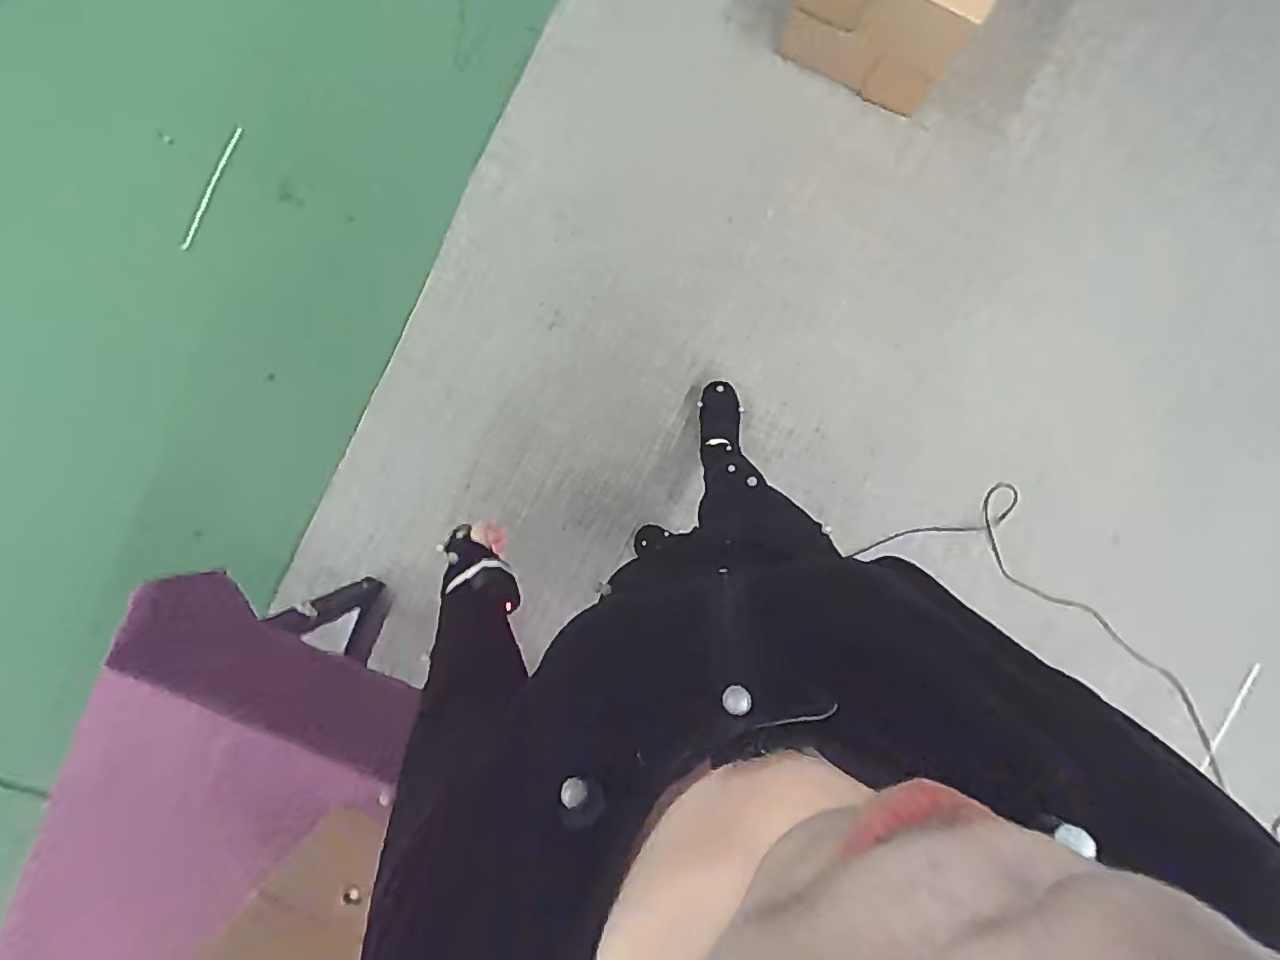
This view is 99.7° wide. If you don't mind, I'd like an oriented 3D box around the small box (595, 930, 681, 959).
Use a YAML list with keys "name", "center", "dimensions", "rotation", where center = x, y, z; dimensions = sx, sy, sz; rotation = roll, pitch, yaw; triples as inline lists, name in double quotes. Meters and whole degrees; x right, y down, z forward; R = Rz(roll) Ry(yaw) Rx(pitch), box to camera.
- name: "small box"
  center: [-0.009, 0.767, 0.713]
  dimensions: [0.168, 0.176, 0.179]
  rotation: [26, 93, 0]
